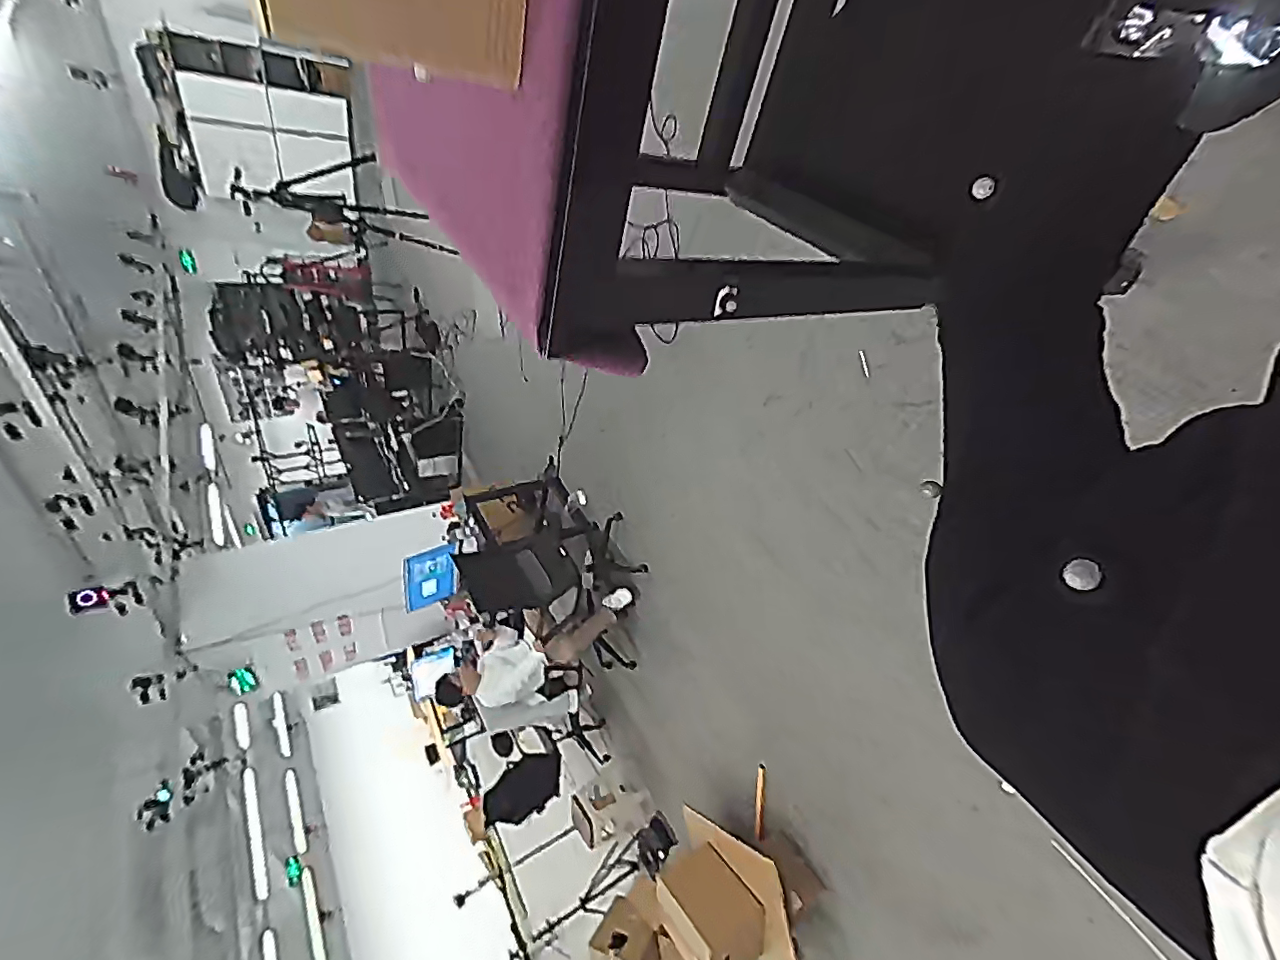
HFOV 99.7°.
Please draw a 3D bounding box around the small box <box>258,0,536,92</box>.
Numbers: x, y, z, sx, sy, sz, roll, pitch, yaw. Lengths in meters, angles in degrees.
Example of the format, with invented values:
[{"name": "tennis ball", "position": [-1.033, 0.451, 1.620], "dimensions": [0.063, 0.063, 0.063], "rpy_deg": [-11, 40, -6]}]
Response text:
[{"name": "small box", "position": [-0.174, -0.402, 0.375], "dimensions": [0.168, 0.176, 0.179], "rpy_deg": [52, 142, 36]}]
